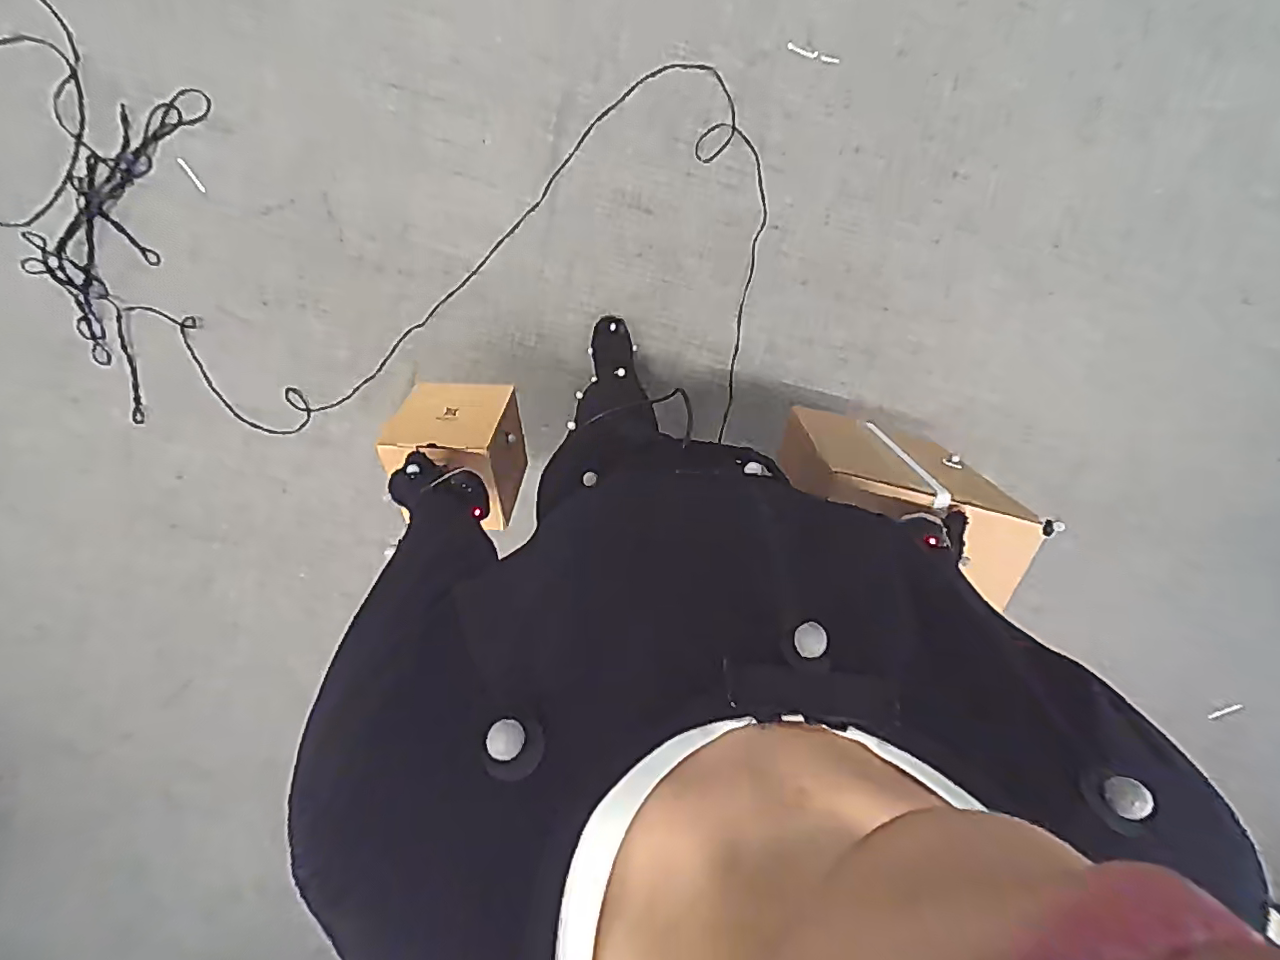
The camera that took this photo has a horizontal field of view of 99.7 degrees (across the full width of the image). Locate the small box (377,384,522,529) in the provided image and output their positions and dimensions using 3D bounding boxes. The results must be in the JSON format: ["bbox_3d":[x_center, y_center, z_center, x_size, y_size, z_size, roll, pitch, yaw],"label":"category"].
[{"bbox_3d":[-0.297,-0.041,0.893,0.168,0.179,0.176,2,131,2],"label":"small box"}]
